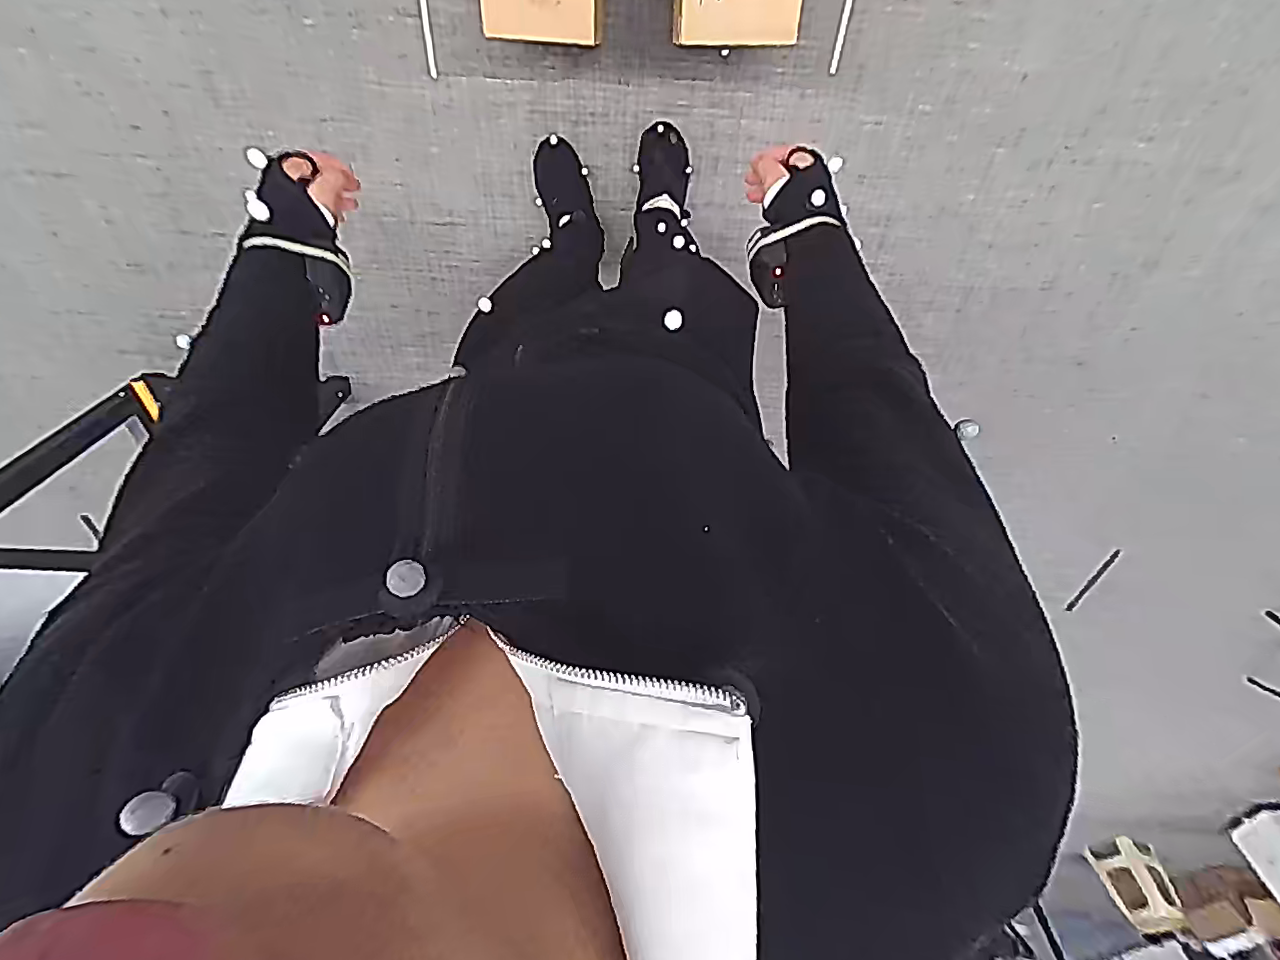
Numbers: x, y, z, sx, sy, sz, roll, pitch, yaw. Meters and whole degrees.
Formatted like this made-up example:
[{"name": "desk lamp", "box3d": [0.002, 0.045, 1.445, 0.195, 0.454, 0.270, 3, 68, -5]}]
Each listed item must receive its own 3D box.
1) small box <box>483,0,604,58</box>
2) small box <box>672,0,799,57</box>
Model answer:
[{"name": "small box", "box3d": [-0.142, -0.761, 0.822, 0.168, 0.176, 0.179, 3, 130, -1]}, {"name": "small box", "box3d": [0.142, -0.754, 0.827, 0.179, 0.176, 0.168, -1, 129, -1]}]
